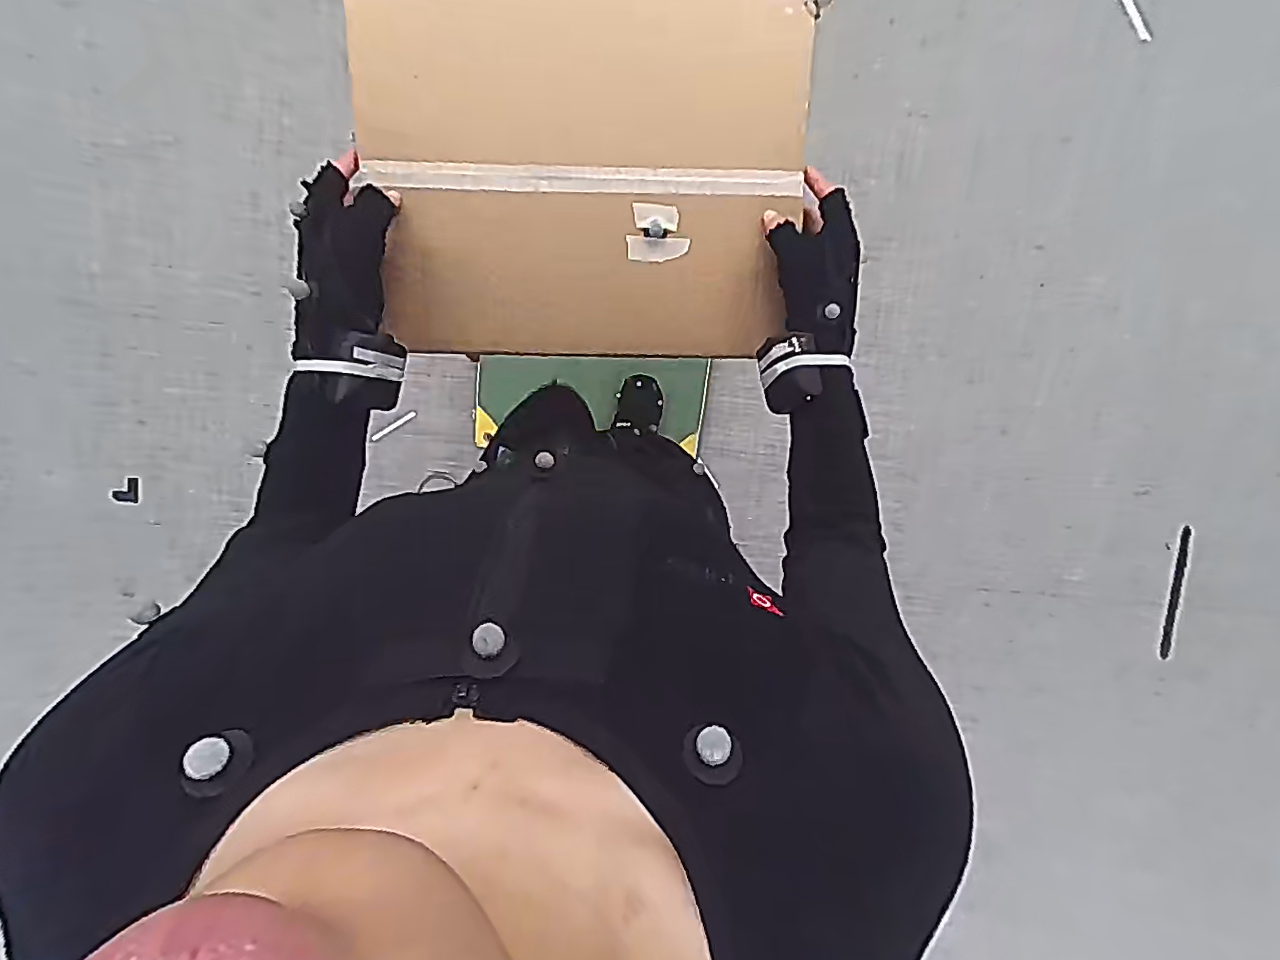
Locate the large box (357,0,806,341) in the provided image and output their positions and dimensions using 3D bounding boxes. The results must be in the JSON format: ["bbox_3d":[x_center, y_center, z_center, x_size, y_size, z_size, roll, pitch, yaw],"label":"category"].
[{"bbox_3d":[-0.057,-0.331,0.653,0.408,0.320,0.320,0,105,-3],"label":"large box"}]
